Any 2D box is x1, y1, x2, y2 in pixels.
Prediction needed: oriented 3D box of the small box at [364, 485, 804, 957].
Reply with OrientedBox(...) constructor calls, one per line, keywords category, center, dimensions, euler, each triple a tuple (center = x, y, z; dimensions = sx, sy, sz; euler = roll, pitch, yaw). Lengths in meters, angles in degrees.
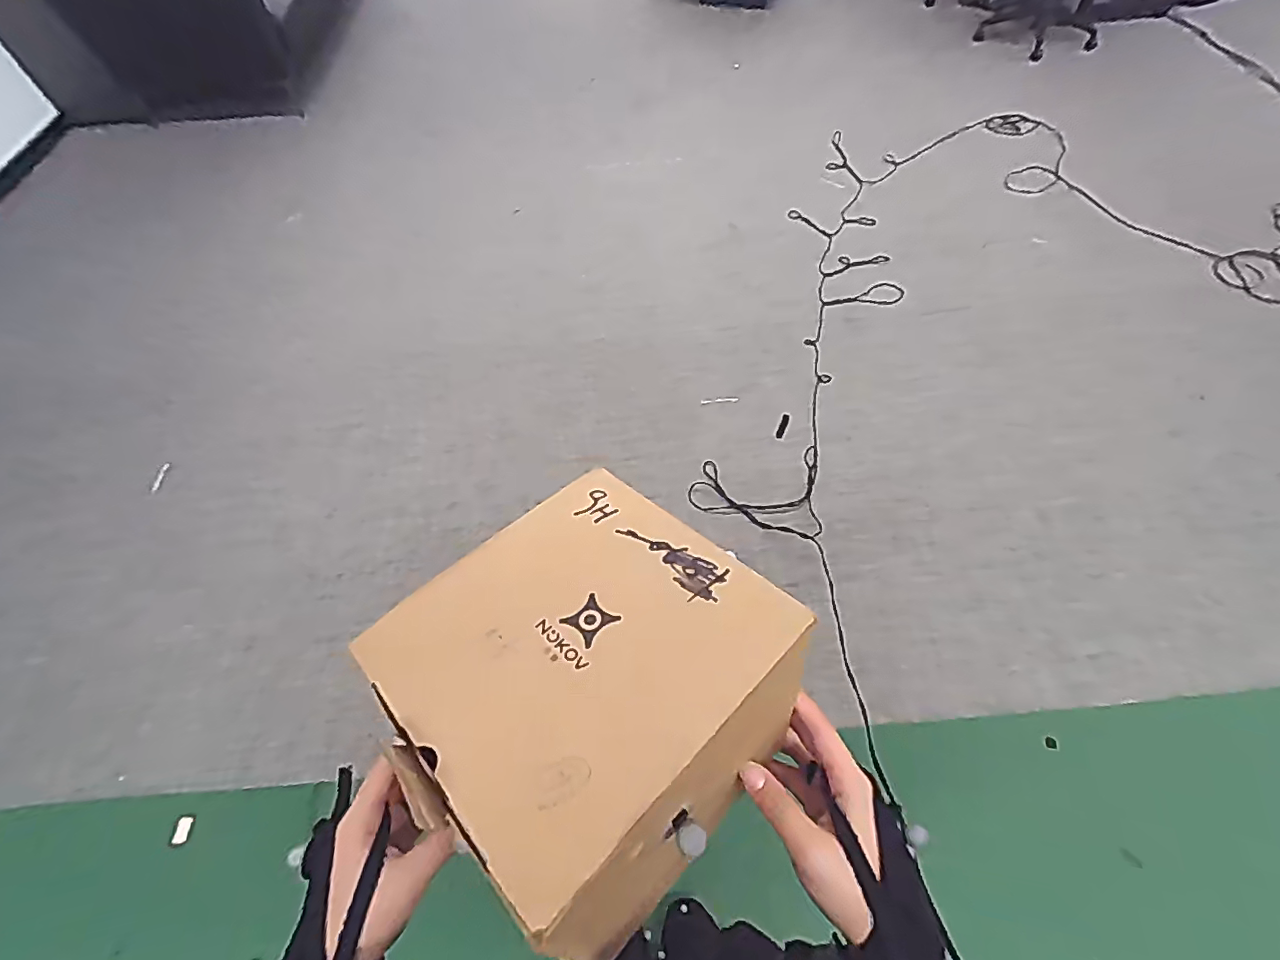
OrientedBox(category="small box", center=(-0.022, 0.142, 0.334), dimensions=(0.168, 0.176, 0.179), euler=(33, 57, 33))
